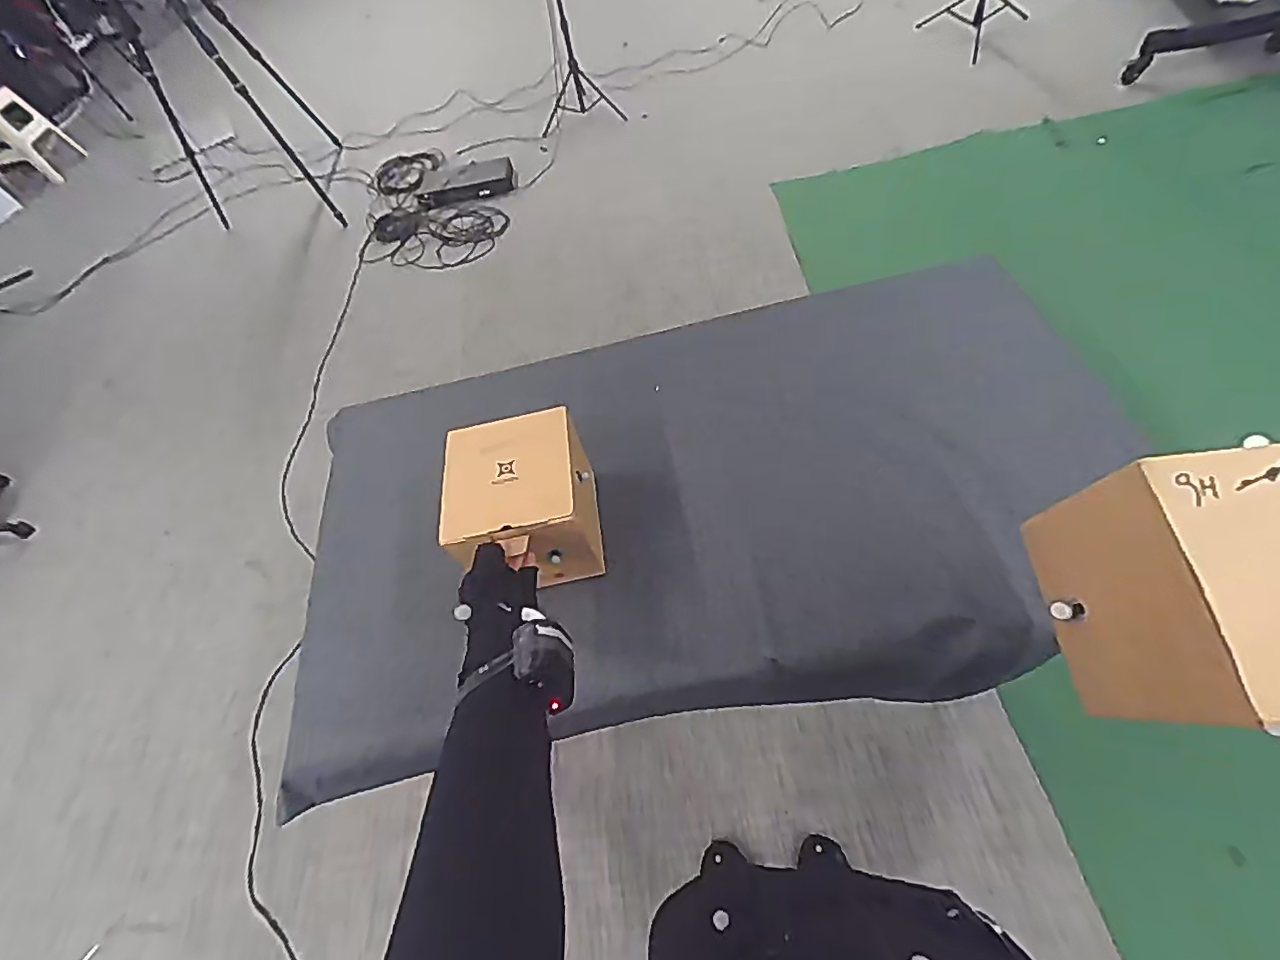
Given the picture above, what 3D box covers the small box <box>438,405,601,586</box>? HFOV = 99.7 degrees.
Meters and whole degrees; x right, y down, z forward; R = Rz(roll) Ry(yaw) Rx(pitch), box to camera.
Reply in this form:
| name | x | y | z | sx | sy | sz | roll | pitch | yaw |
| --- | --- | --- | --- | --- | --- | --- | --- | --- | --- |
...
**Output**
| name | x | y | z | sx | sy | sz | roll | pitch | yaw |
| --- | --- | --- | --- | --- | --- | --- | --- | --- | --- |
| small box | -0.154 | 0.031 | 0.735 | 0.168 | 0.176 | 0.179 | -11 | 54 | 2 |
